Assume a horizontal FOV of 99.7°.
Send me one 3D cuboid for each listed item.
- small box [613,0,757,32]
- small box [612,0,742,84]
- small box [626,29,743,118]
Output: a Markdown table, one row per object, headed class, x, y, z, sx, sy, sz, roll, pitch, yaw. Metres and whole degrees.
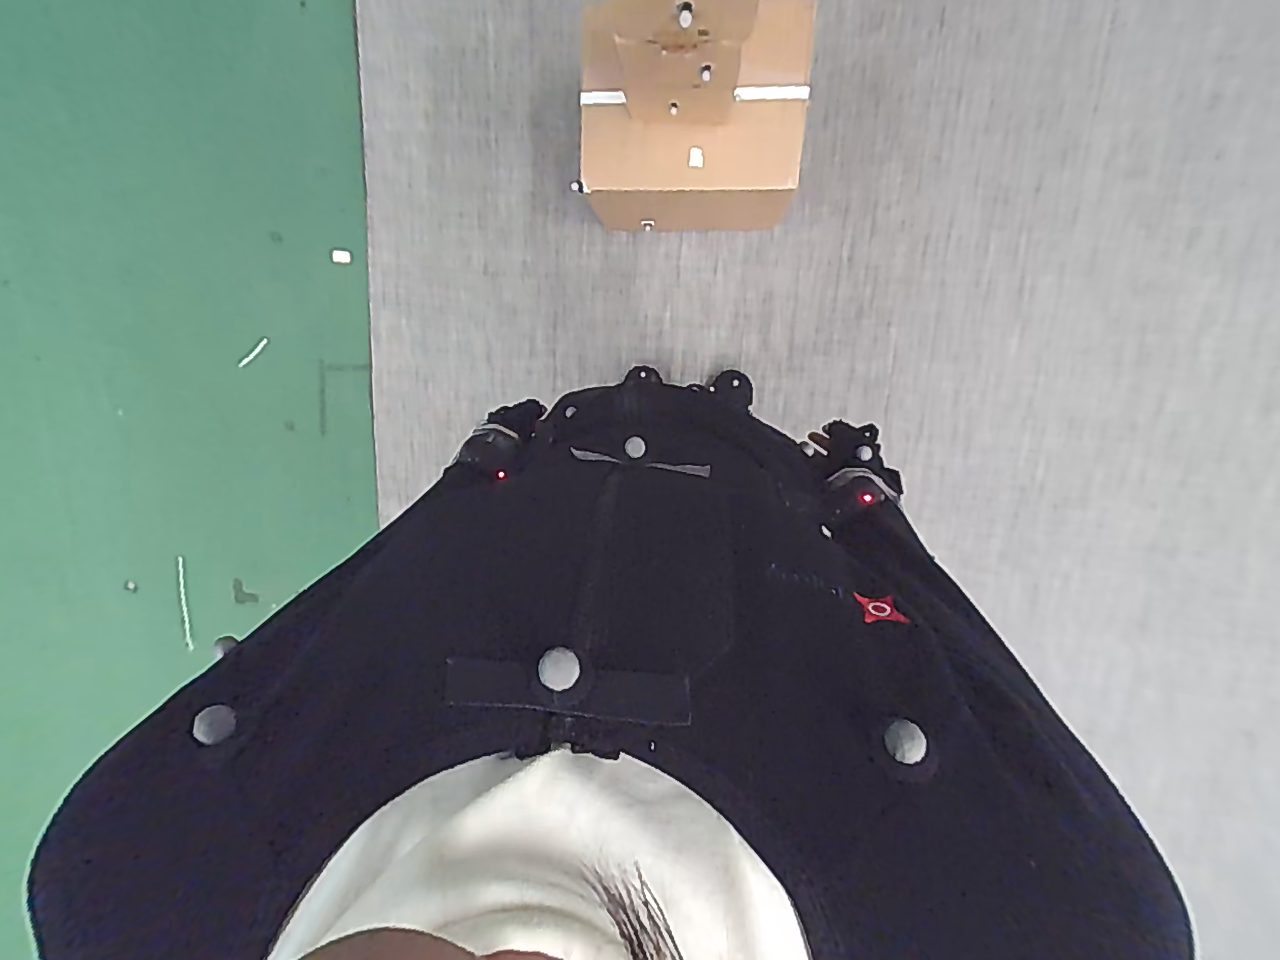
| class | x | y | z | sx | sy | sz | roll | pitch | yaw |
| --- | --- | --- | --- | --- | --- | --- | --- | --- | --- |
| small box | 0.050 | -0.606 | 0.566 | 0.168 | 0.176 | 0.179 | 4 | 110 | 5 |
| small box | 0.057 | -0.656 | 0.721 | 0.168 | 0.176 | 0.179 | 3 | 108 | 5 |
| small box | 0.074 | -0.705 | 0.874 | 0.179 | 0.176 | 0.168 | 3 | 109 | 6 |
